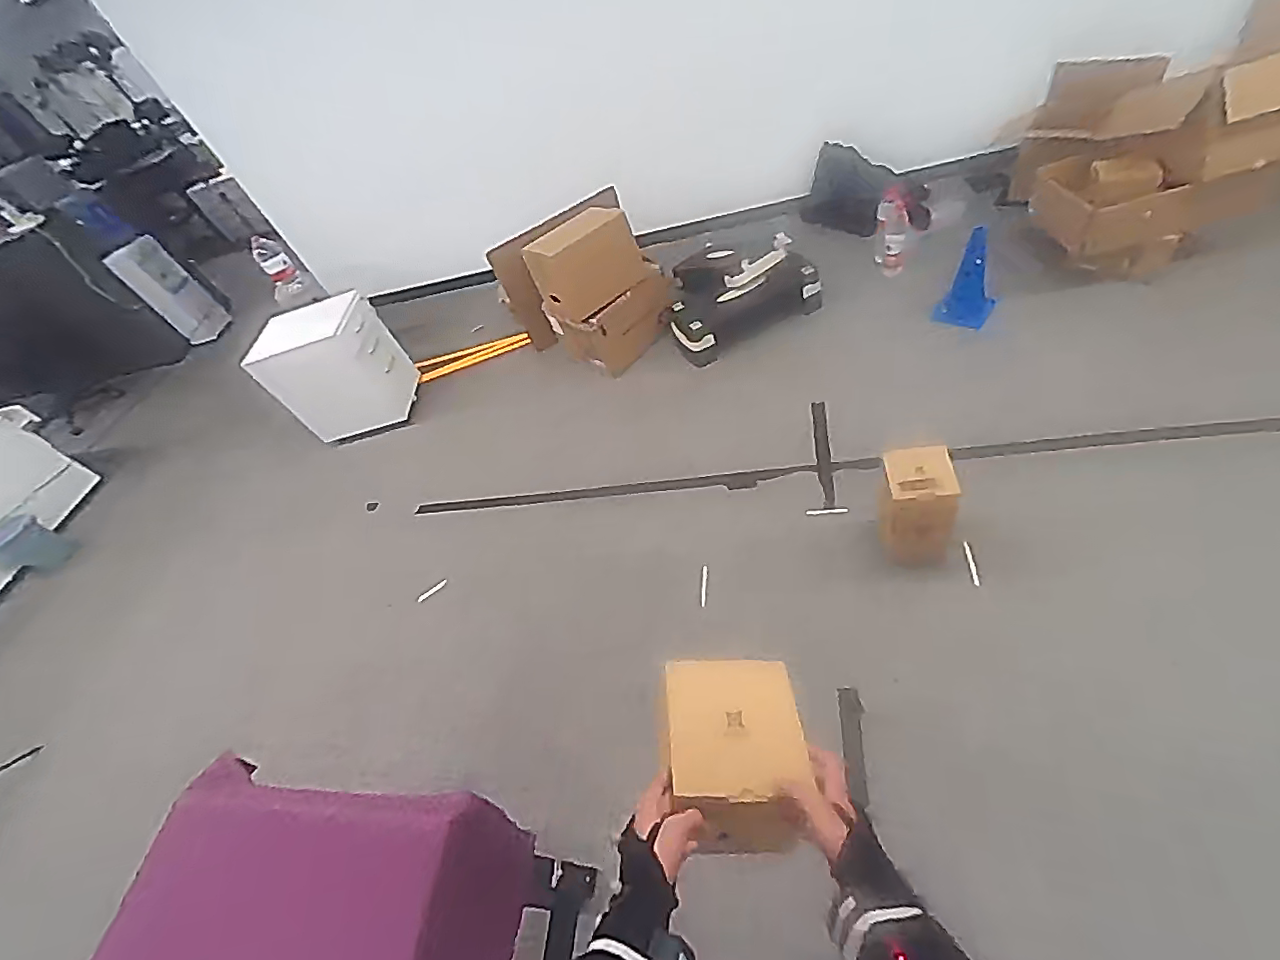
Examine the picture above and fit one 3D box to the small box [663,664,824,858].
[{"bbox_3d":[0.120,0.366,0.711,0.168,0.176,0.179,1,39,-2],"label":"small box"}]
